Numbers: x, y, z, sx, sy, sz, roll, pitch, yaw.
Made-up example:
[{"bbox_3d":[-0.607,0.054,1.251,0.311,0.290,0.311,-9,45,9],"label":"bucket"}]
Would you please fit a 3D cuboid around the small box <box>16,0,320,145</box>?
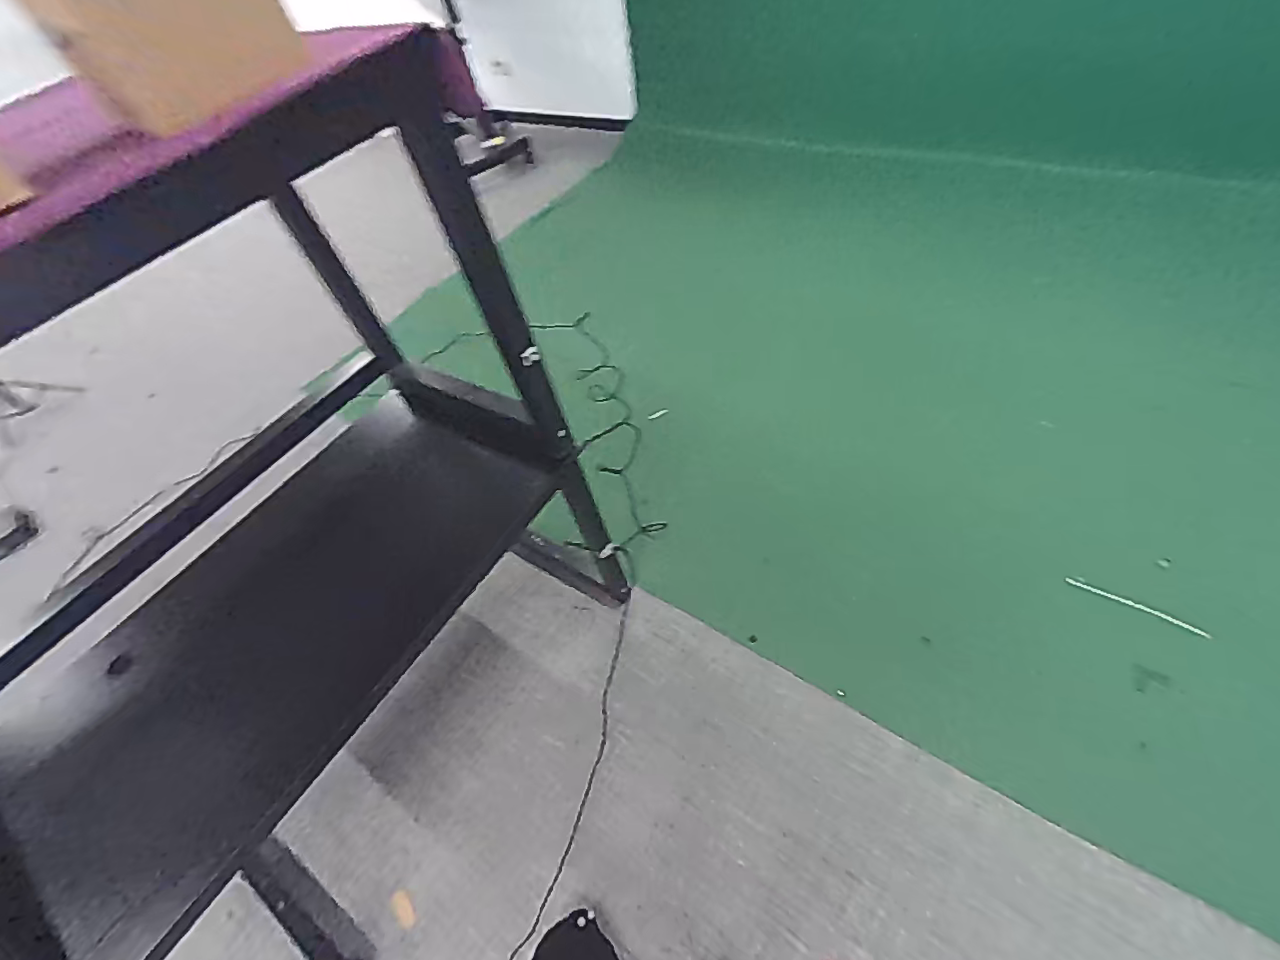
[{"bbox_3d":[-0.468,-0.456,0.529,0.168,0.176,0.179,27,62,28],"label":"small box"}]
